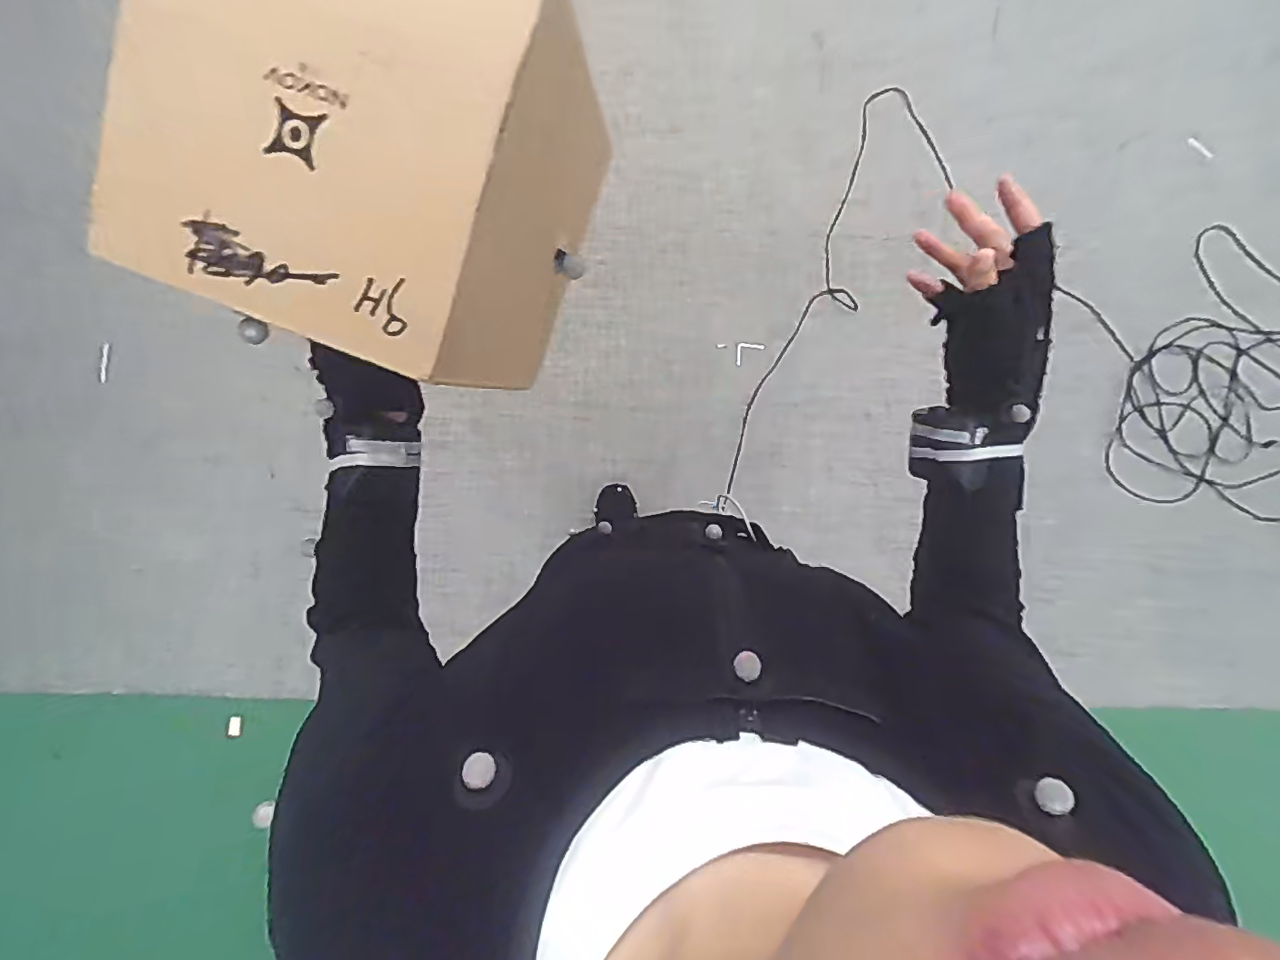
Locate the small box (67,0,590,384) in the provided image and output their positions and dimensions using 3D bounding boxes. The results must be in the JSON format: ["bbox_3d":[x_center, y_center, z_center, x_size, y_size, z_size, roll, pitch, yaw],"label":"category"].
[{"bbox_3d":[-0.134,-0.163,0.298,0.168,0.176,0.179,20,99,1],"label":"small box"}]
